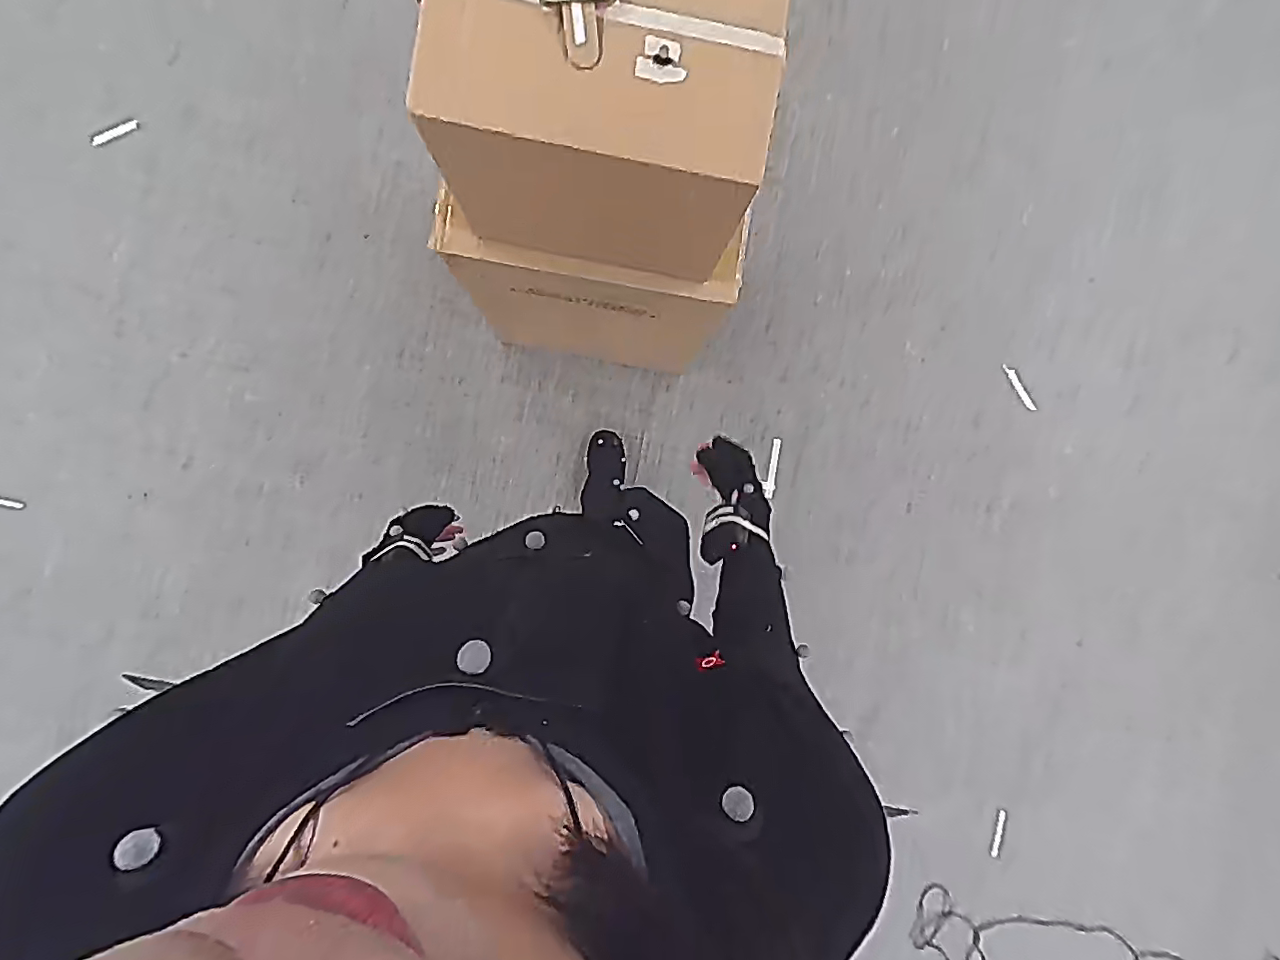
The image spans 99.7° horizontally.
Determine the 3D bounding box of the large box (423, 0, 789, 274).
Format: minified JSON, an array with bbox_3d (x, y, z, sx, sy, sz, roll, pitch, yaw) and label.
[{"bbox_3d":[-0.043,-0.530,0.771,0.408,0.320,0.320,9,90,-5],"label":"large box"}]
